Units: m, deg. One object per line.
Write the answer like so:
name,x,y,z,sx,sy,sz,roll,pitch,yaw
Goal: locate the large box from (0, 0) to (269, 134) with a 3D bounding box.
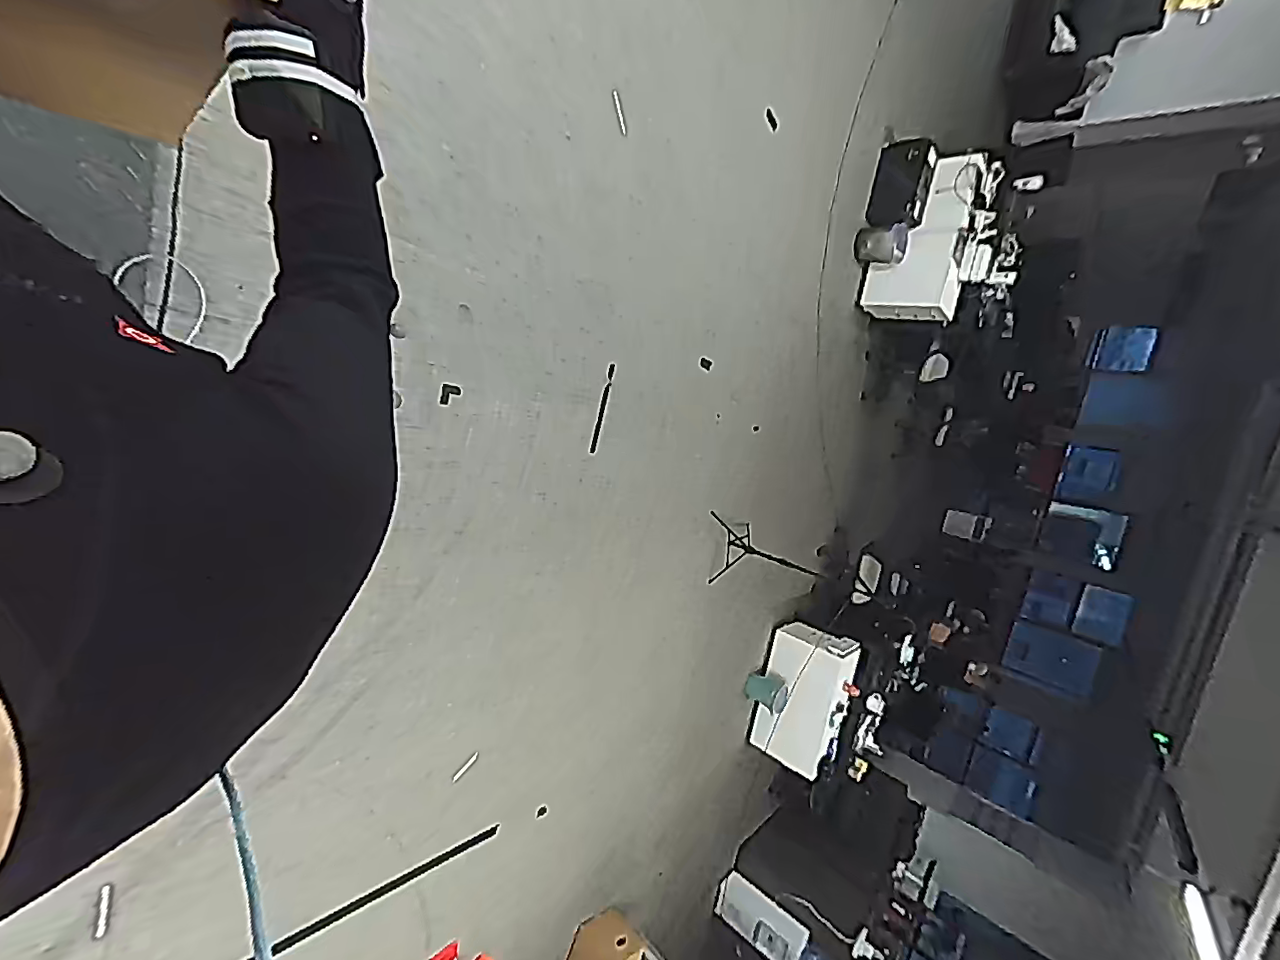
large box,-0.481,-0.457,0.279,0.408,0.320,0.320,-9,103,-50
